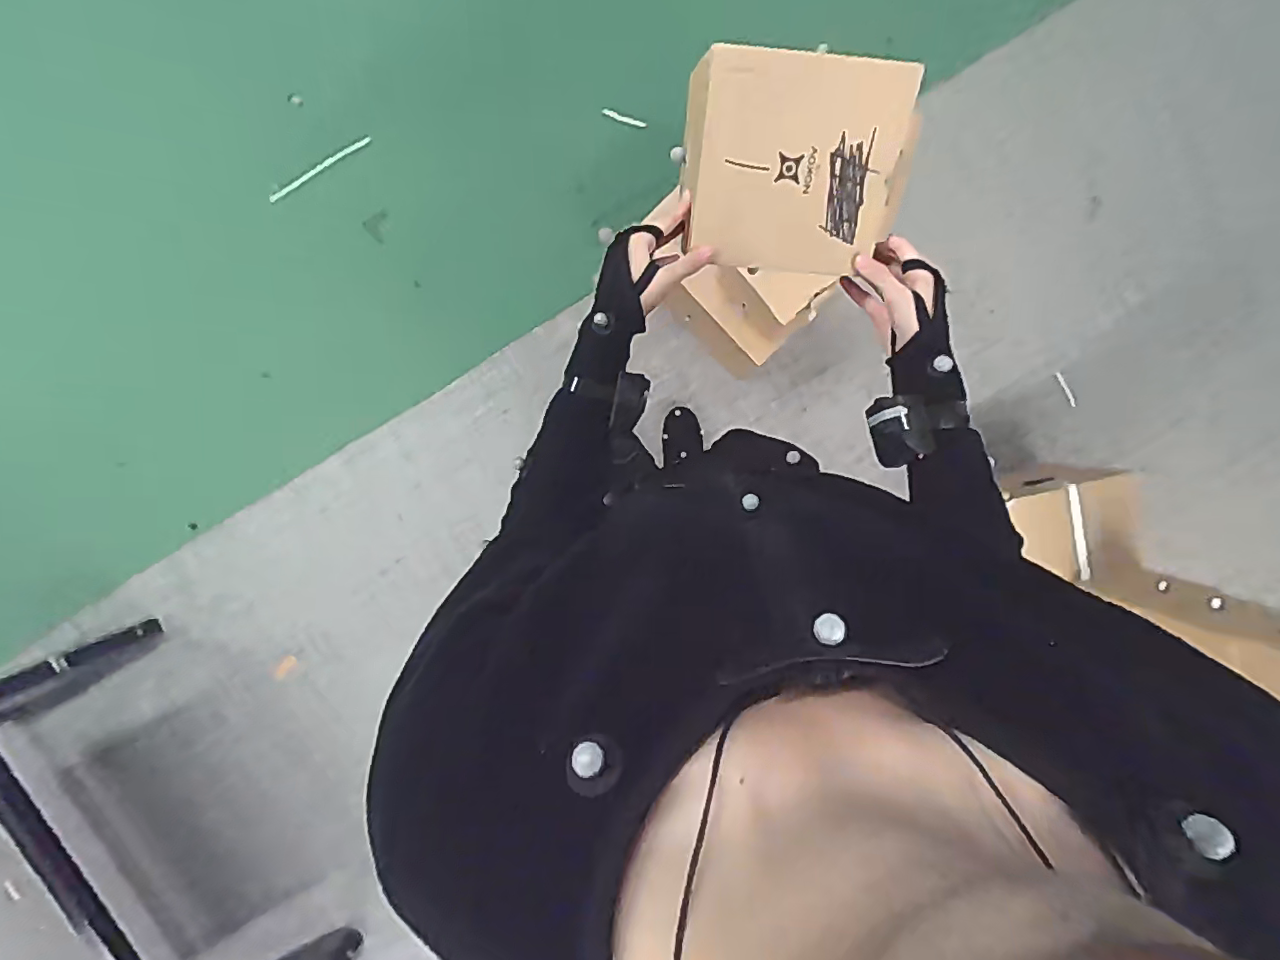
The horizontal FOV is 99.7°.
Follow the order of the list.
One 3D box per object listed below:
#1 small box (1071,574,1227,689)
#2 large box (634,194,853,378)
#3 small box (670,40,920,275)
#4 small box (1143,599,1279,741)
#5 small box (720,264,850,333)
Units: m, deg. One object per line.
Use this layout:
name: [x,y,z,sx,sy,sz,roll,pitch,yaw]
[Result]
small box: [1.056,0.307,1.128,0.179,0.176,0.168,-11,95,0]
large box: [0.238,-0.506,1.307,0.320,0.320,0.408,-44,92,4]
small box: [0.130,-0.311,0.536,0.179,0.176,0.168,3,121,-3]
small box: [1.059,0.331,0.968,0.168,0.176,0.179,-10,94,0]
small box: [0.278,-0.409,1.068,0.168,0.176,0.179,-39,94,4]
